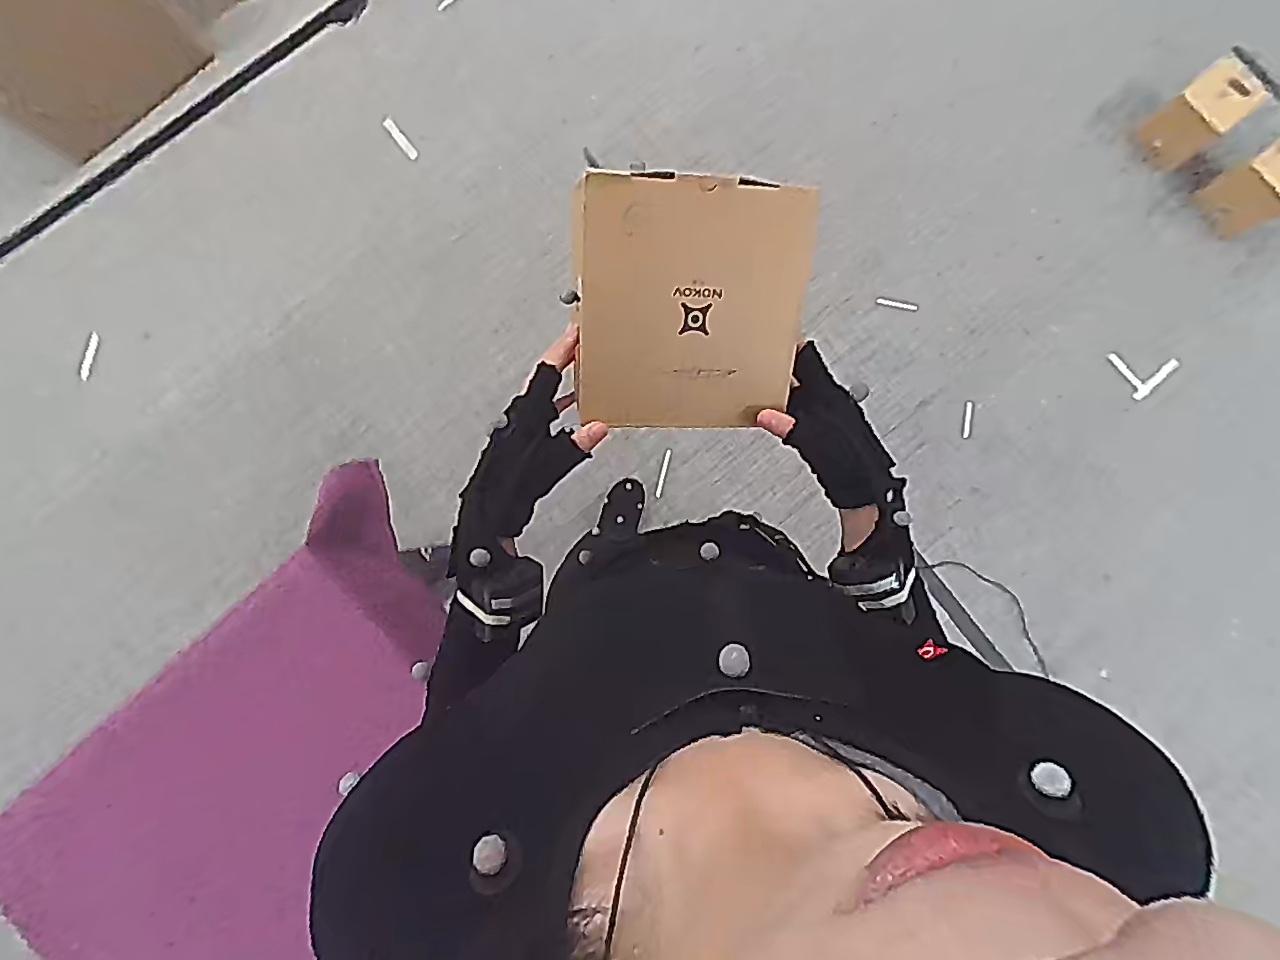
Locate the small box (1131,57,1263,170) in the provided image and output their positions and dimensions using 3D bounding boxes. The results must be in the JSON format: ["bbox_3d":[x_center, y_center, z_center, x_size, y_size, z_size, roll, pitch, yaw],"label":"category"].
[{"bbox_3d":[1.615,-1.062,1.579,0.179,0.176,0.168,-40,86,-3],"label":"small box"}]

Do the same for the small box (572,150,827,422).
[{"bbox_3d":[0.030,-0.159,0.457,0.168,0.176,0.179,0,114,-9],"label":"small box"}]

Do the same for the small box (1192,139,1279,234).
[{"bbox_3d":[1.789,-0.847,1.565,0.168,0.176,0.179,-36,88,-3],"label":"small box"}]
